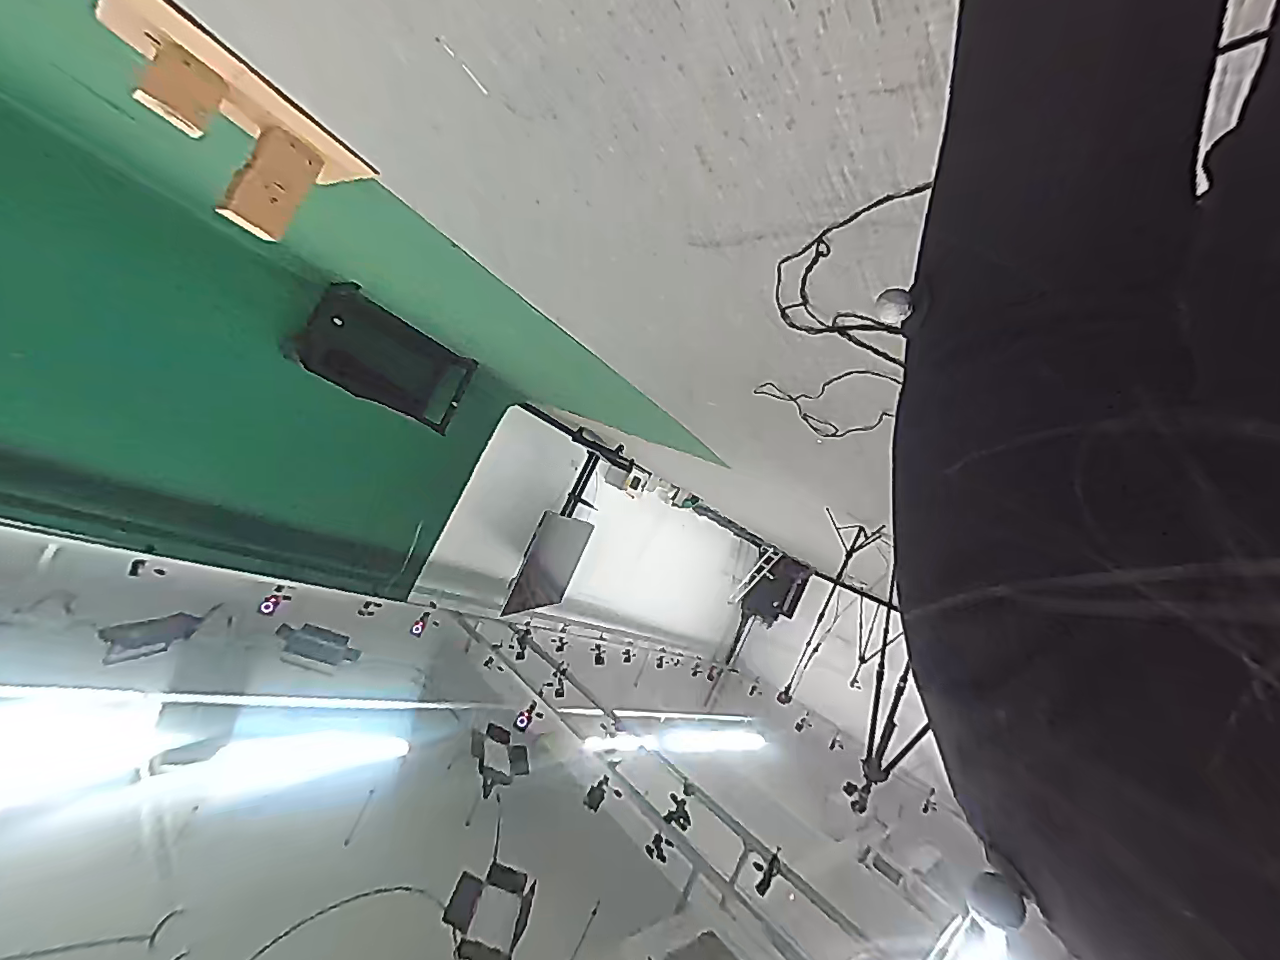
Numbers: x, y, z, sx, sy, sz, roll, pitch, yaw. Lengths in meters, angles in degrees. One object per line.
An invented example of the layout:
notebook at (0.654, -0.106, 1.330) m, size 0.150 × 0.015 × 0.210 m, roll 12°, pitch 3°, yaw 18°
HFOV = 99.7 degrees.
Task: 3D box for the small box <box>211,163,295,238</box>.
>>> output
small box at (-1.356, -0.983, 1.901) m, size 0.179 × 0.176 × 0.168 m, roll 23°, pitch 175°, yaw 37°

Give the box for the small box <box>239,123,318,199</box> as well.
small box at (-1.273, -1.123, 1.907) m, size 0.179 × 0.176 × 0.168 m, roll 24°, pitch 177°, yaw 39°
